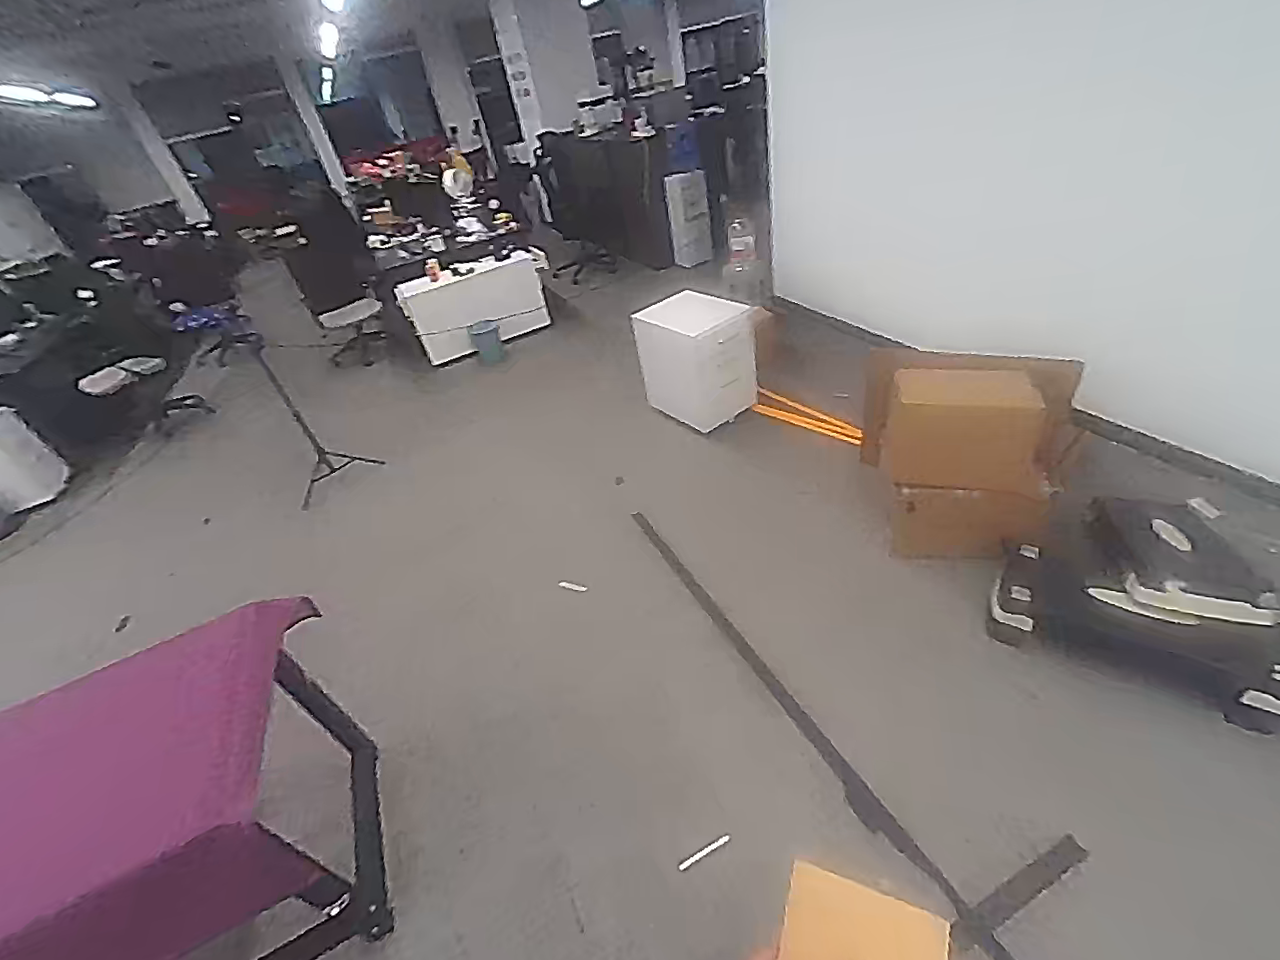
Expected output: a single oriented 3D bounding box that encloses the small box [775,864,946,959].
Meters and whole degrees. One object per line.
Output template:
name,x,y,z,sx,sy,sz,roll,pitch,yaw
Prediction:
small box,0.245,0.579,0.631,0.168,0.176,0.179,8,60,23
